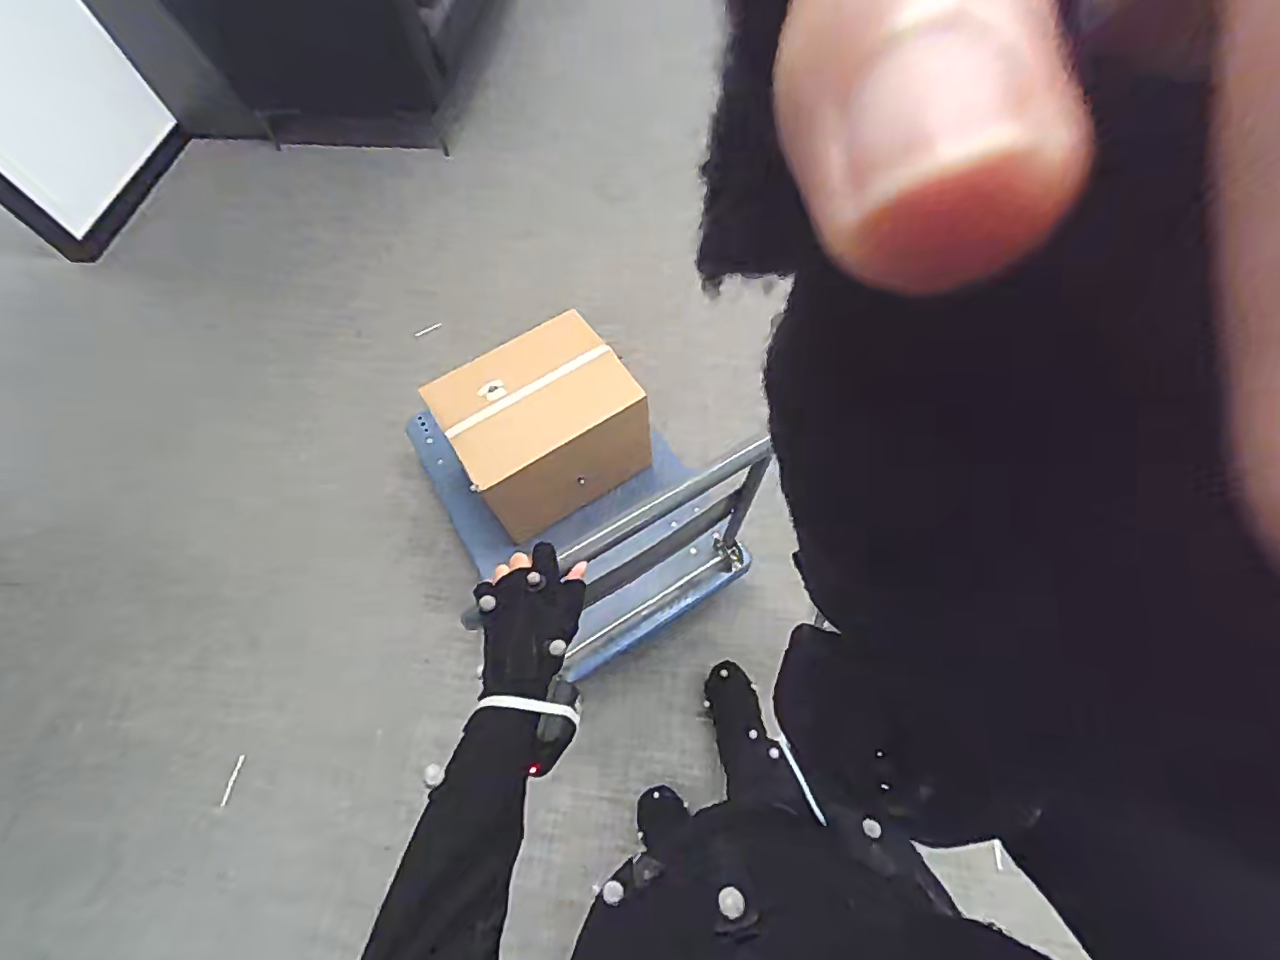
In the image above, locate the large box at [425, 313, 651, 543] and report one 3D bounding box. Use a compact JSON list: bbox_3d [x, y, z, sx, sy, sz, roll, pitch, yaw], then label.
[{"bbox_3d":[-0.222,-0.116,1.310,0.408,0.320,0.320,-33,66,-12],"label":"large box"}]
